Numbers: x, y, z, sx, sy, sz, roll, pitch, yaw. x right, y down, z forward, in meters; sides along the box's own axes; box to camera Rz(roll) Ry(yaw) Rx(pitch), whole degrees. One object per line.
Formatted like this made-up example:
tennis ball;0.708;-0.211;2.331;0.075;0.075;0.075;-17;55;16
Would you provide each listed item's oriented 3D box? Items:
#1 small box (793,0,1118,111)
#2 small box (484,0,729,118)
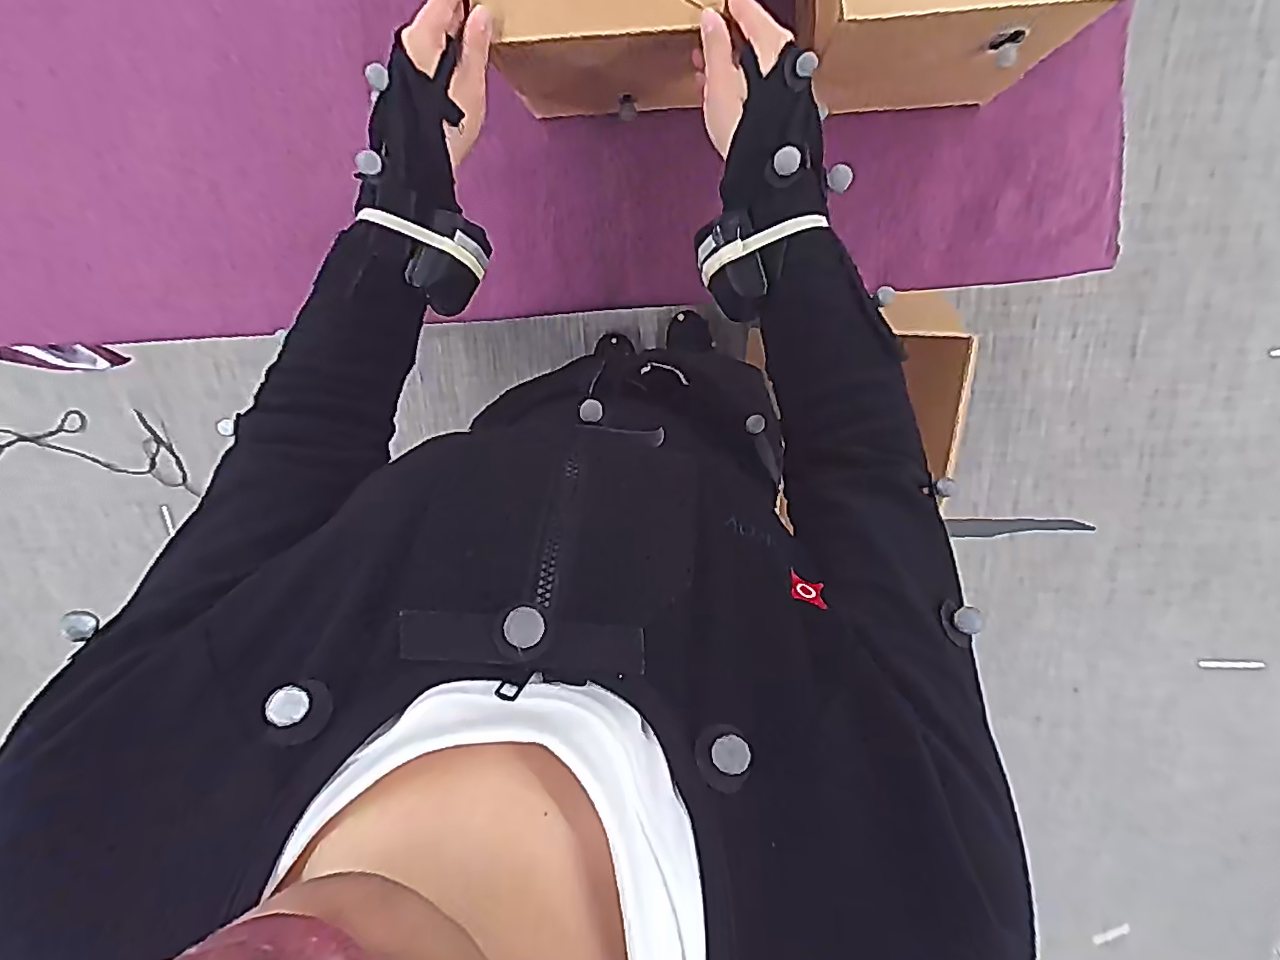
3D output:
small box;0.224;-0.402;0.405;0.179;0.176;0.168;0;105;5
small box;-0.022;-0.410;0.423;0.179;0.176;0.168;1;107;7
